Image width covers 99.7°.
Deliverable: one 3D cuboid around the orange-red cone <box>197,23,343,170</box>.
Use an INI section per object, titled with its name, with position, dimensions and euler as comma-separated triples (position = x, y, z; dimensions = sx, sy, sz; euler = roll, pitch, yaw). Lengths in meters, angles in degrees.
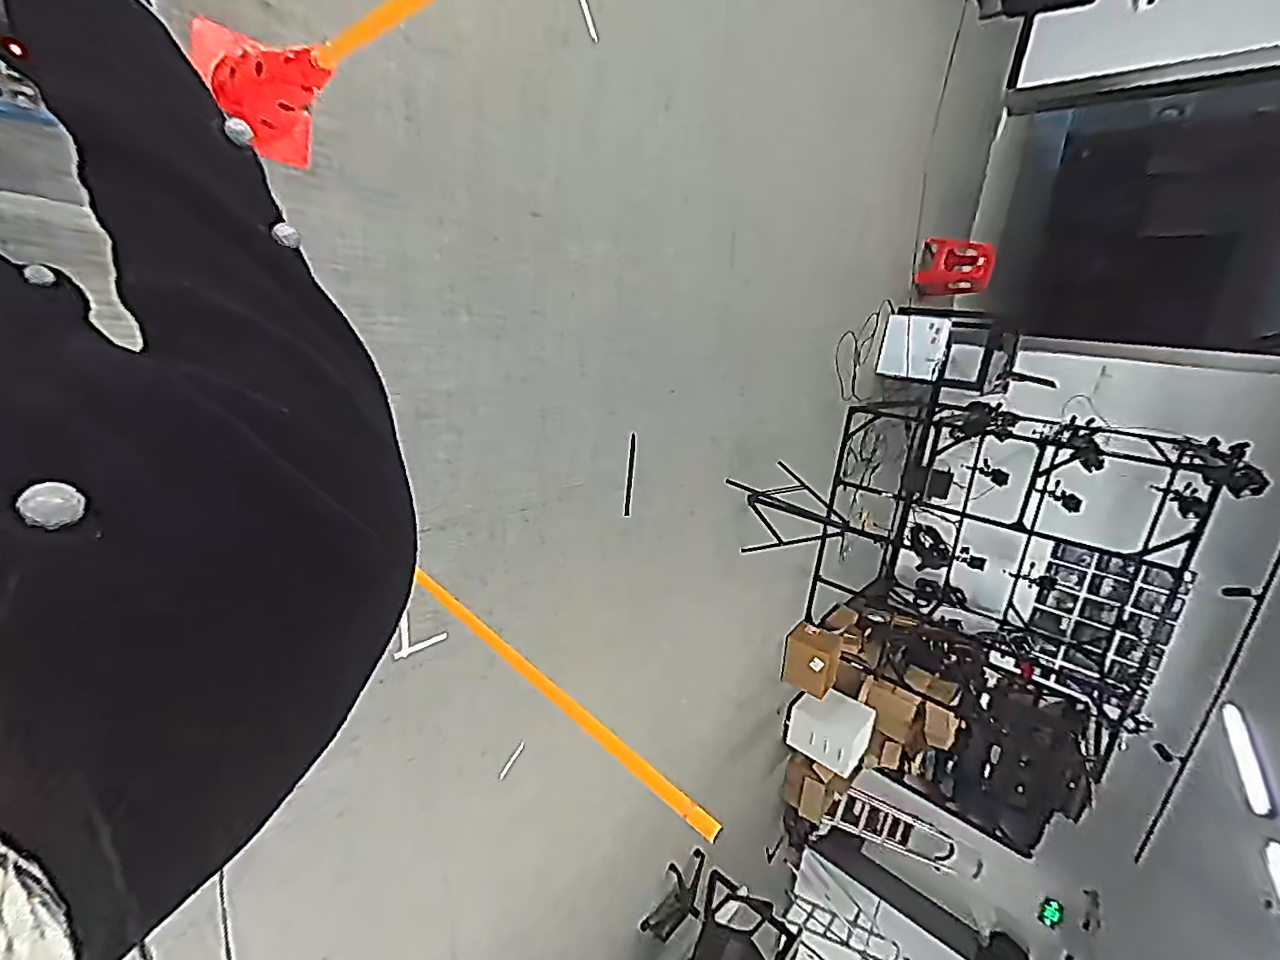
[orange-red cone]
position = -0.629, -0.714, 0.982
dimensions = 0.199, 0.360, 0.198
euler = -2, 107, -52
